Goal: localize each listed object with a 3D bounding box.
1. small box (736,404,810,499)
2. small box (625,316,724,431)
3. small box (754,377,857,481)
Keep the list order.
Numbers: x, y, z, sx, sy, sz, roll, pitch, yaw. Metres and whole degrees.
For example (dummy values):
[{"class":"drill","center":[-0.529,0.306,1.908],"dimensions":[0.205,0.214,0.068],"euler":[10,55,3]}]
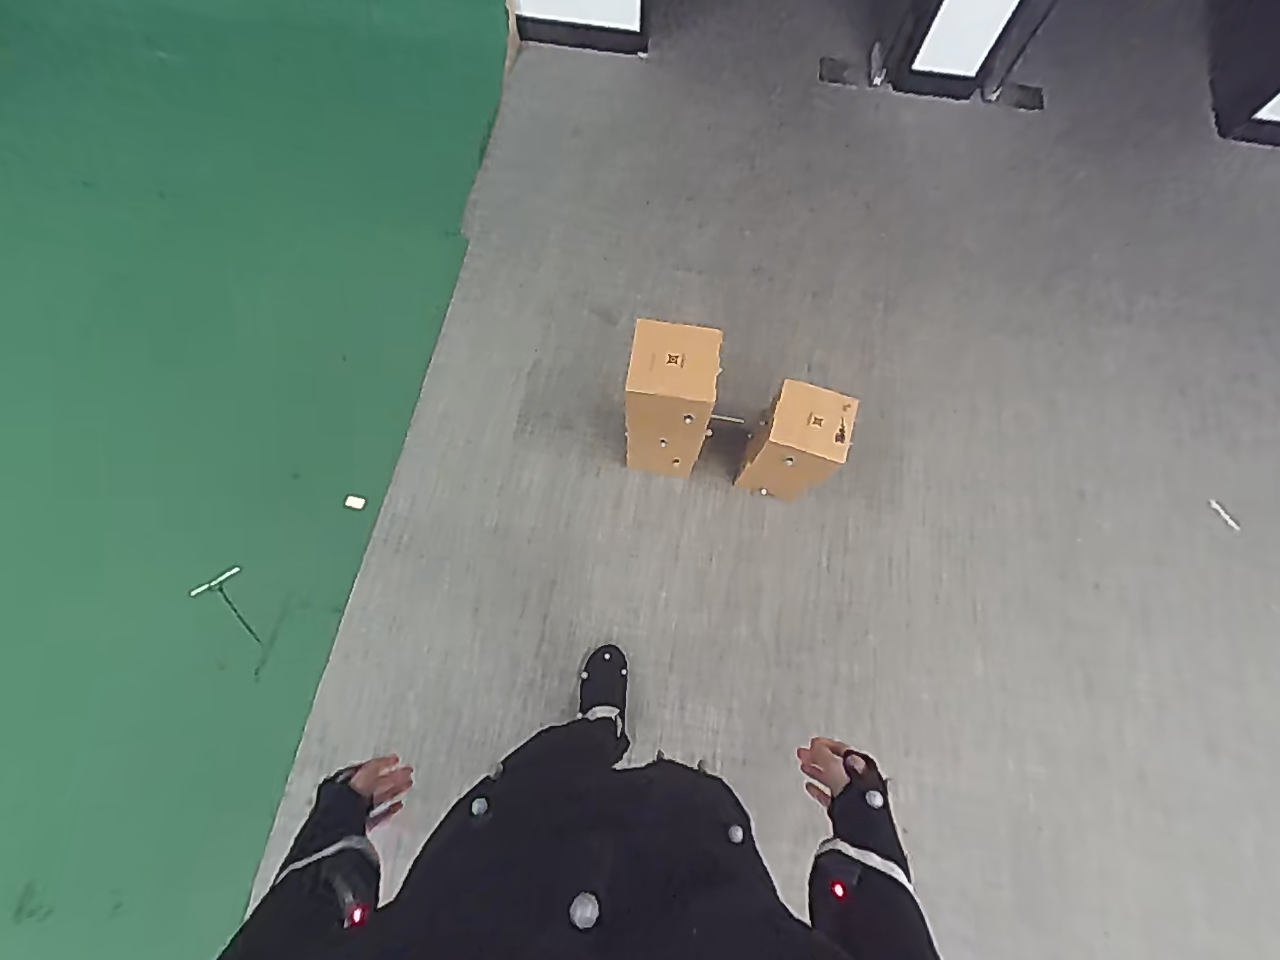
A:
[{"class":"small box","center":[0.366,-0.070,1.438],"dimensions":[0.168,0.176,0.179],"euler":[18,73,5]},{"class":"small box","center":[0.068,-0.214,1.131],"dimensions":[0.179,0.176,0.168],"euler":[8,71,2]},{"class":"small box","center":[0.383,-0.113,1.279],"dimensions":[0.179,0.176,0.168],"euler":[17,73,5]}]
